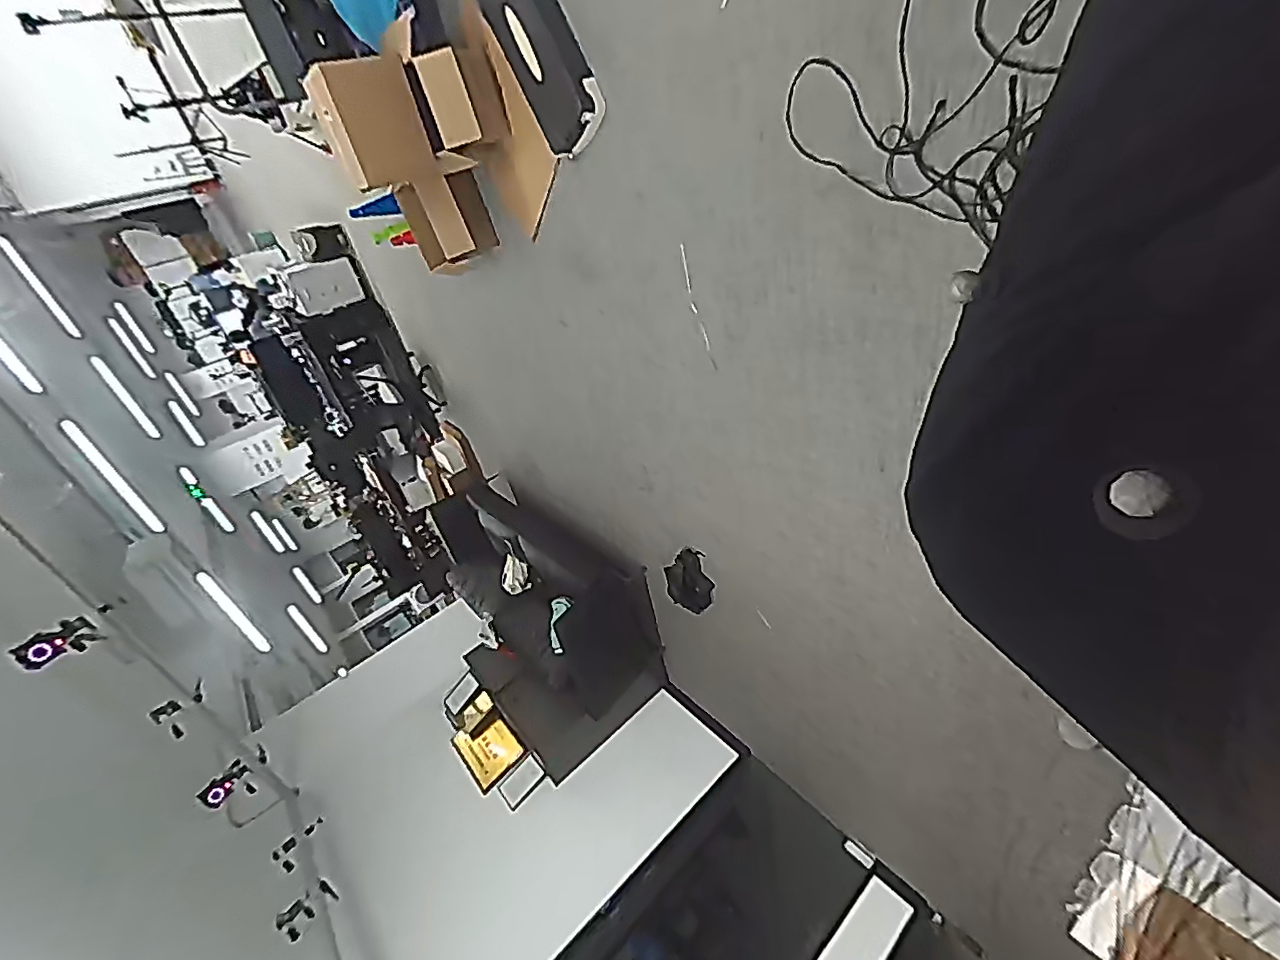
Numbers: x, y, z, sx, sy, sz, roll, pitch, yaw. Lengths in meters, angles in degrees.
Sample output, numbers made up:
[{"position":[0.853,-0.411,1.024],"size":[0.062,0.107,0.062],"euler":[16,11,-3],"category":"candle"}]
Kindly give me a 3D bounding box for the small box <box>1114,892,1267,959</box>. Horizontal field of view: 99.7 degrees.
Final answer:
[{"position":[0.910,0.841,0.890],"size":[0.168,0.176,0.179],"euler":[29,141,43],"category":"small box"}]
